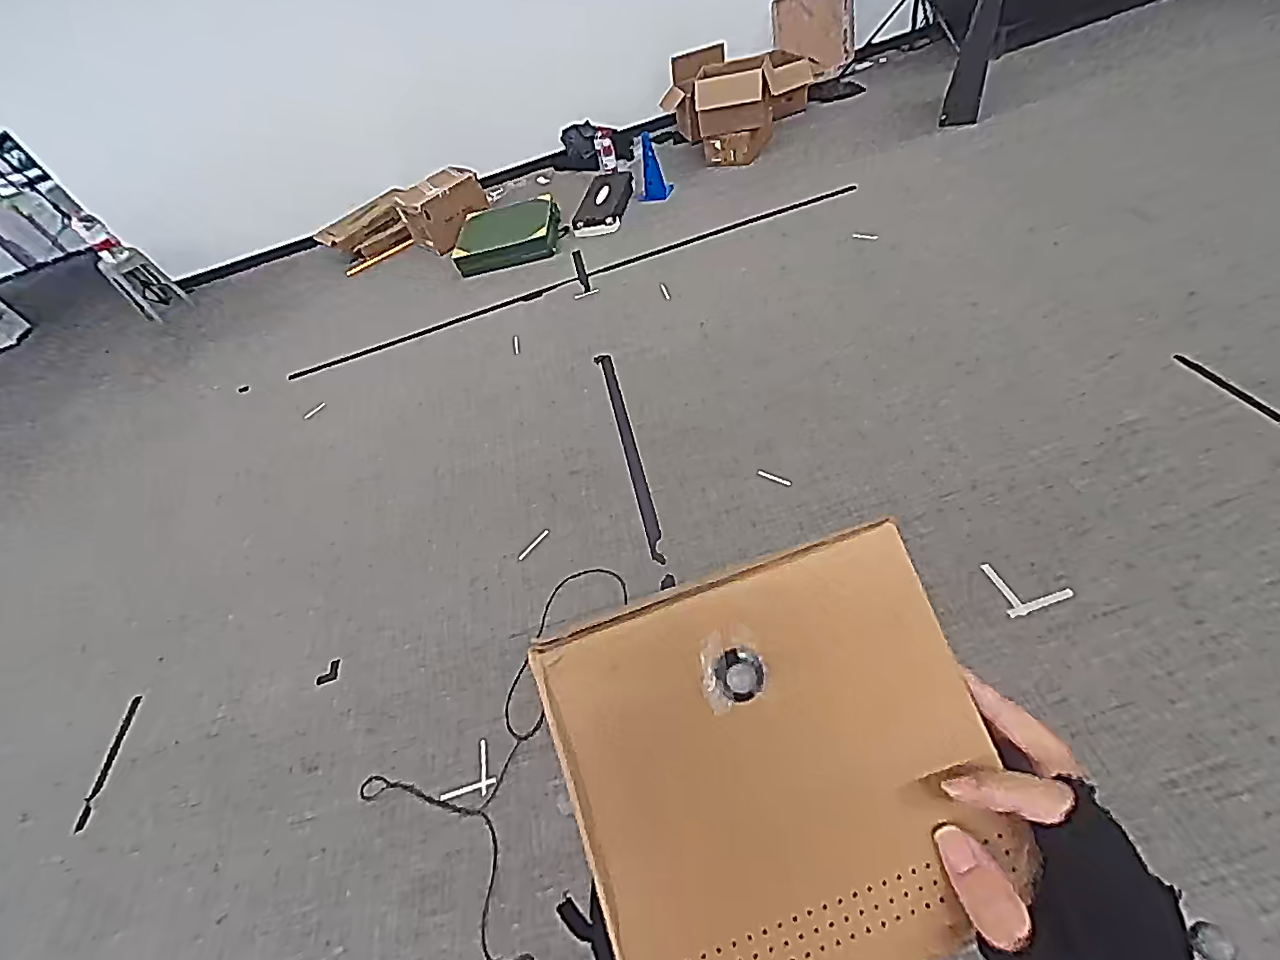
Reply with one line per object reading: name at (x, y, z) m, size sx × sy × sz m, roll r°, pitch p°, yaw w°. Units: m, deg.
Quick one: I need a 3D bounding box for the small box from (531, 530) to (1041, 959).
small box at (0.061, 0.144, 0.302) m, size 0.179 × 0.168 × 0.176 m, roll -19°, pitch 79°, yaw -4°
